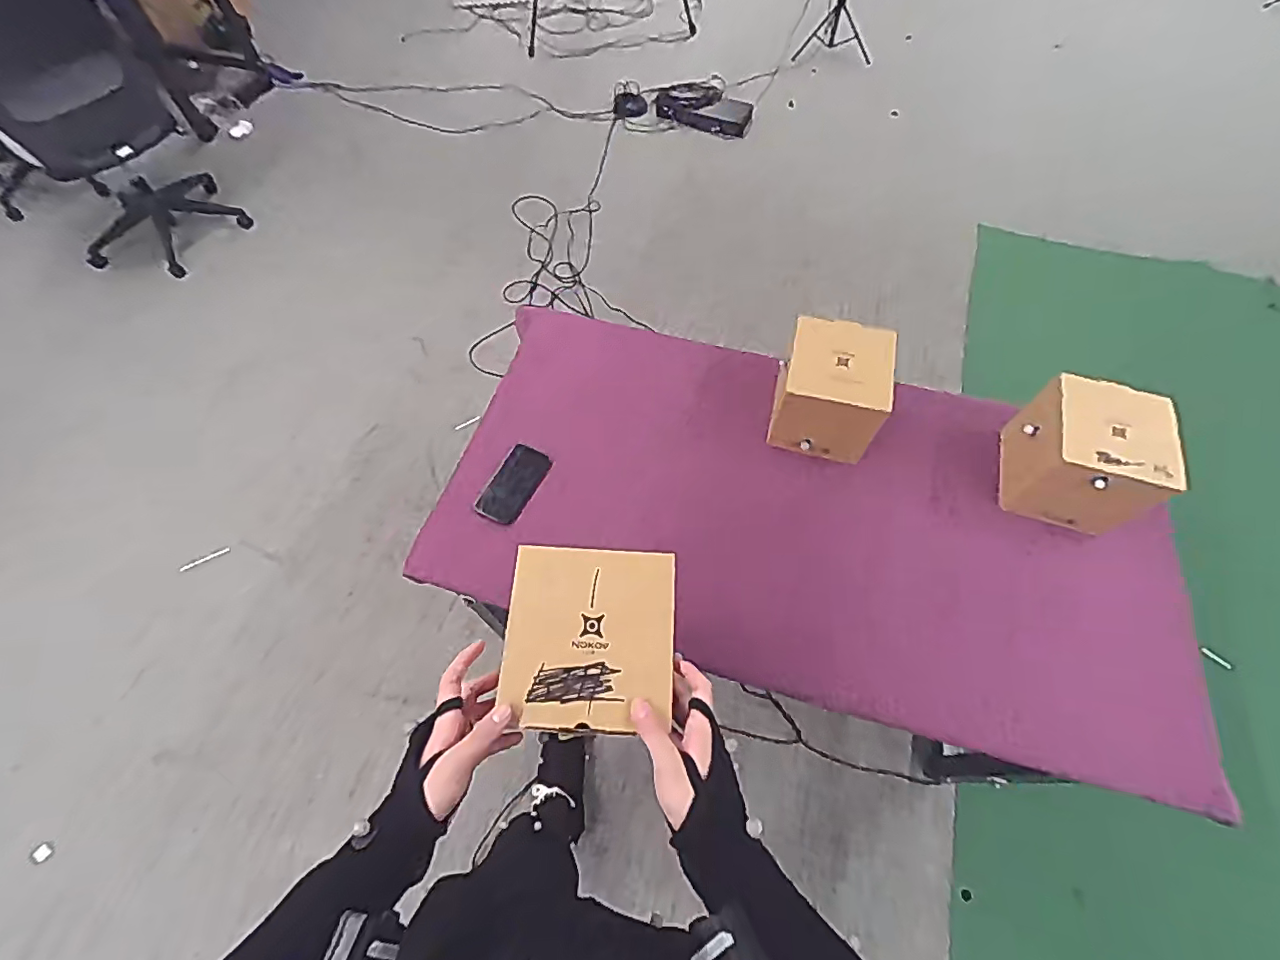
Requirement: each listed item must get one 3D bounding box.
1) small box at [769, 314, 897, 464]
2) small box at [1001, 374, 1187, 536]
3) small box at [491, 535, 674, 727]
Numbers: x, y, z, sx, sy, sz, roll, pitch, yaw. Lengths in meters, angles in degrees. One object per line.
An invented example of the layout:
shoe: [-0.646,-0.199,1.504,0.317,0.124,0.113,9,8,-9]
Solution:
small box: [0.333,-0.156,0.951,0.168,0.176,0.179,14,62,9]
small box: [0.720,-0.037,0.882,0.168,0.176,0.179,16,62,10]
small box: [-0.052,0.173,0.600,0.168,0.176,0.179,4,65,-1]
